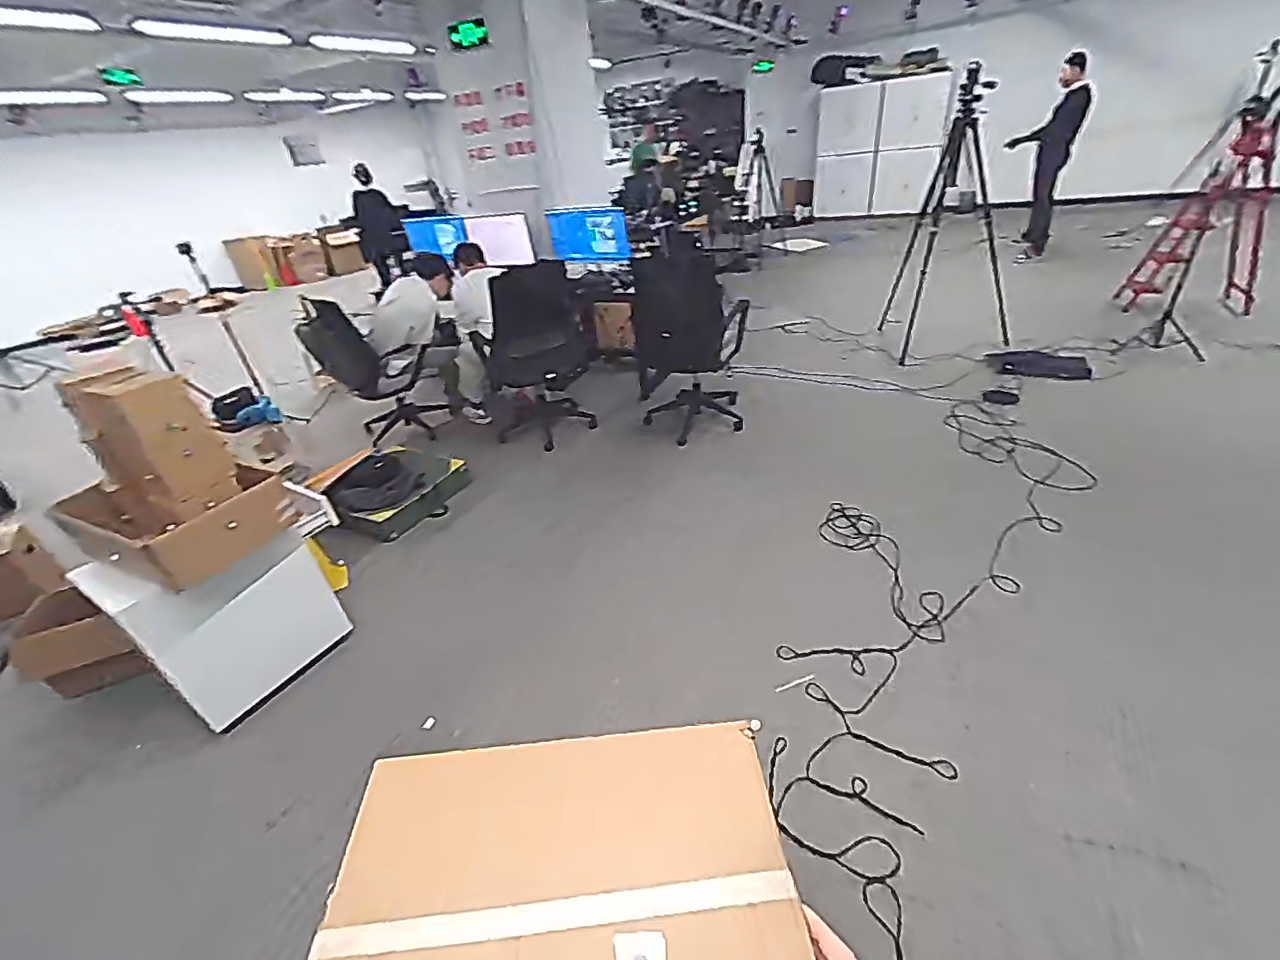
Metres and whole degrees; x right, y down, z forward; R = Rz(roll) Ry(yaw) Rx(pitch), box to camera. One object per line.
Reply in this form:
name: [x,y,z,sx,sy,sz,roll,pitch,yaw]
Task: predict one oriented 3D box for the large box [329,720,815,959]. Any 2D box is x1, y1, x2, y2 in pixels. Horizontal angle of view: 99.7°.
large box: [-0.059,0.494,0.555,0.408,0.320,0.320,-4,35,-3]
